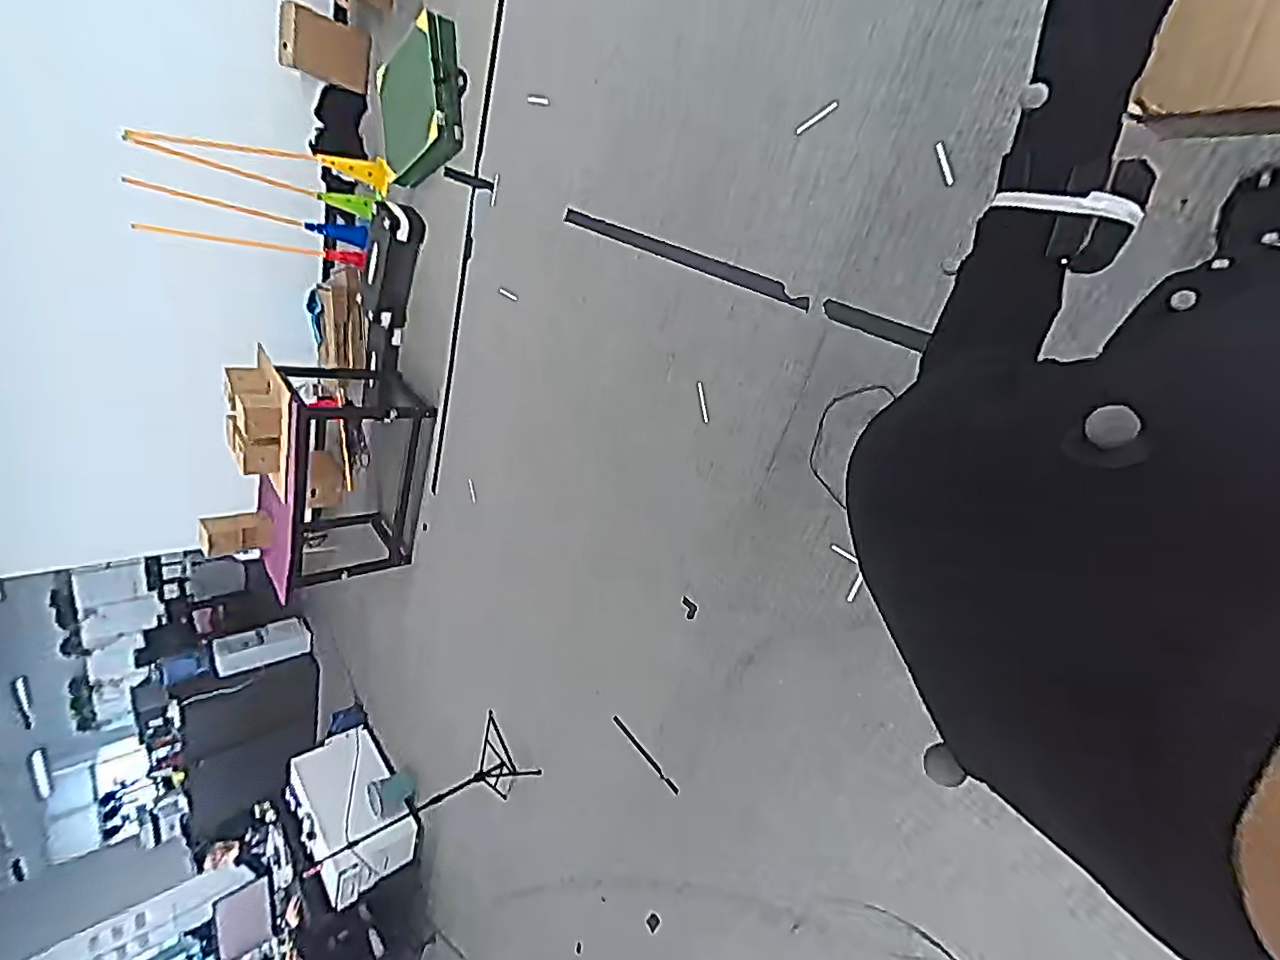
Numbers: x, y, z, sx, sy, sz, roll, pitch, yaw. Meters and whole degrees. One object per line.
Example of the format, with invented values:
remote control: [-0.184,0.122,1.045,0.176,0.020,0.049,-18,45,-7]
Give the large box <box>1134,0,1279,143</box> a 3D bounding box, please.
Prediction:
large box: [0.578,-0.384,0.283,0.408,0.320,0.320,22,126,38]
